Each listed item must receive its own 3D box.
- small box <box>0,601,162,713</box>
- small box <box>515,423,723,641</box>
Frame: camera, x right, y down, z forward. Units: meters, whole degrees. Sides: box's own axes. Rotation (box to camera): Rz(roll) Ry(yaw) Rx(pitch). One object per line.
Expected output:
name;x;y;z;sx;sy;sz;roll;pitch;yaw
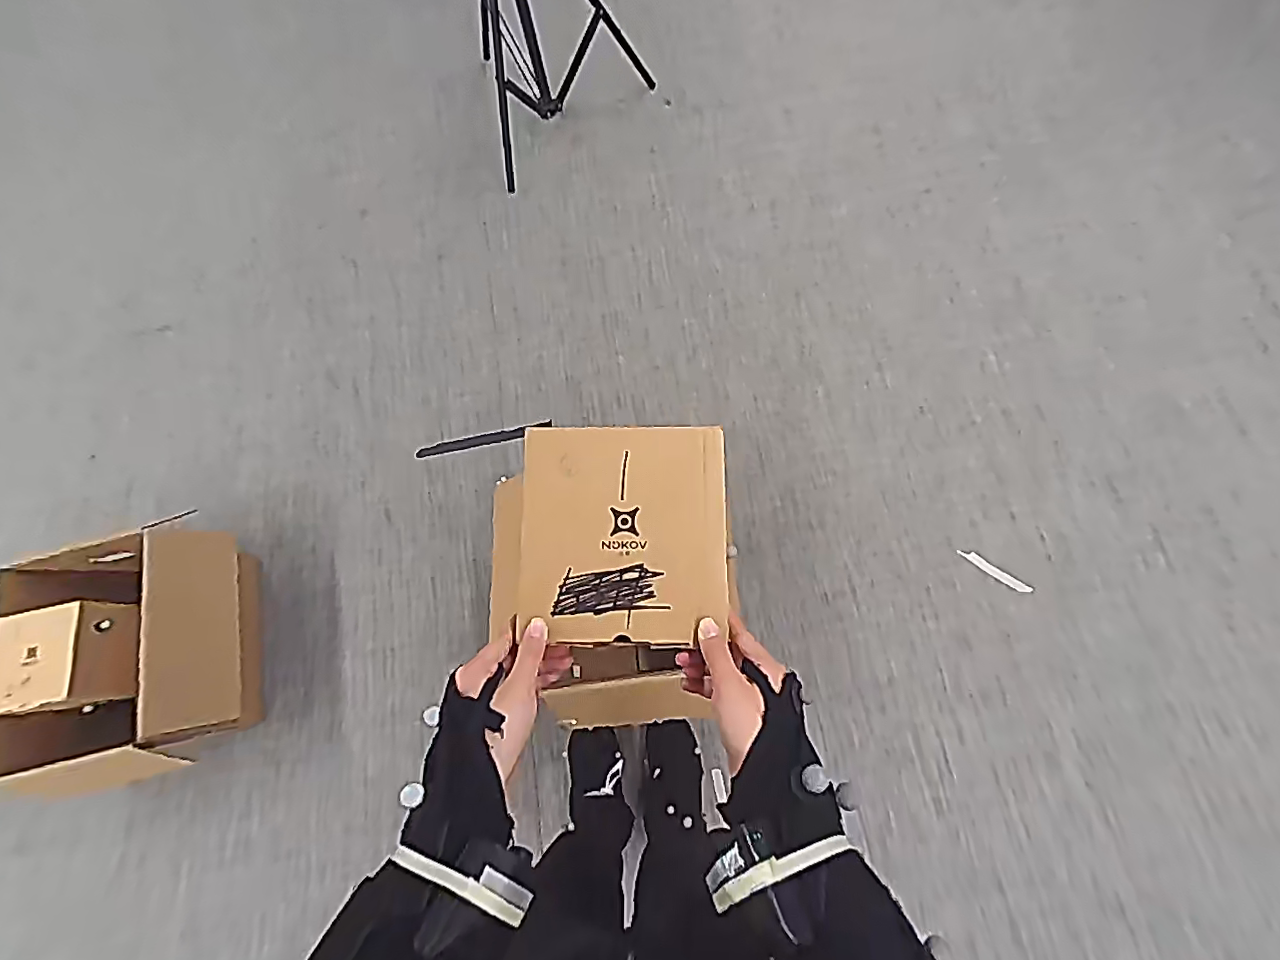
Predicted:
small box;-1.087;0.344;1.055;0.168;0.176;0.179;-12;72;2
small box;-0.012;0.053;0.511;0.168;0.176;0.179;0;78;2
